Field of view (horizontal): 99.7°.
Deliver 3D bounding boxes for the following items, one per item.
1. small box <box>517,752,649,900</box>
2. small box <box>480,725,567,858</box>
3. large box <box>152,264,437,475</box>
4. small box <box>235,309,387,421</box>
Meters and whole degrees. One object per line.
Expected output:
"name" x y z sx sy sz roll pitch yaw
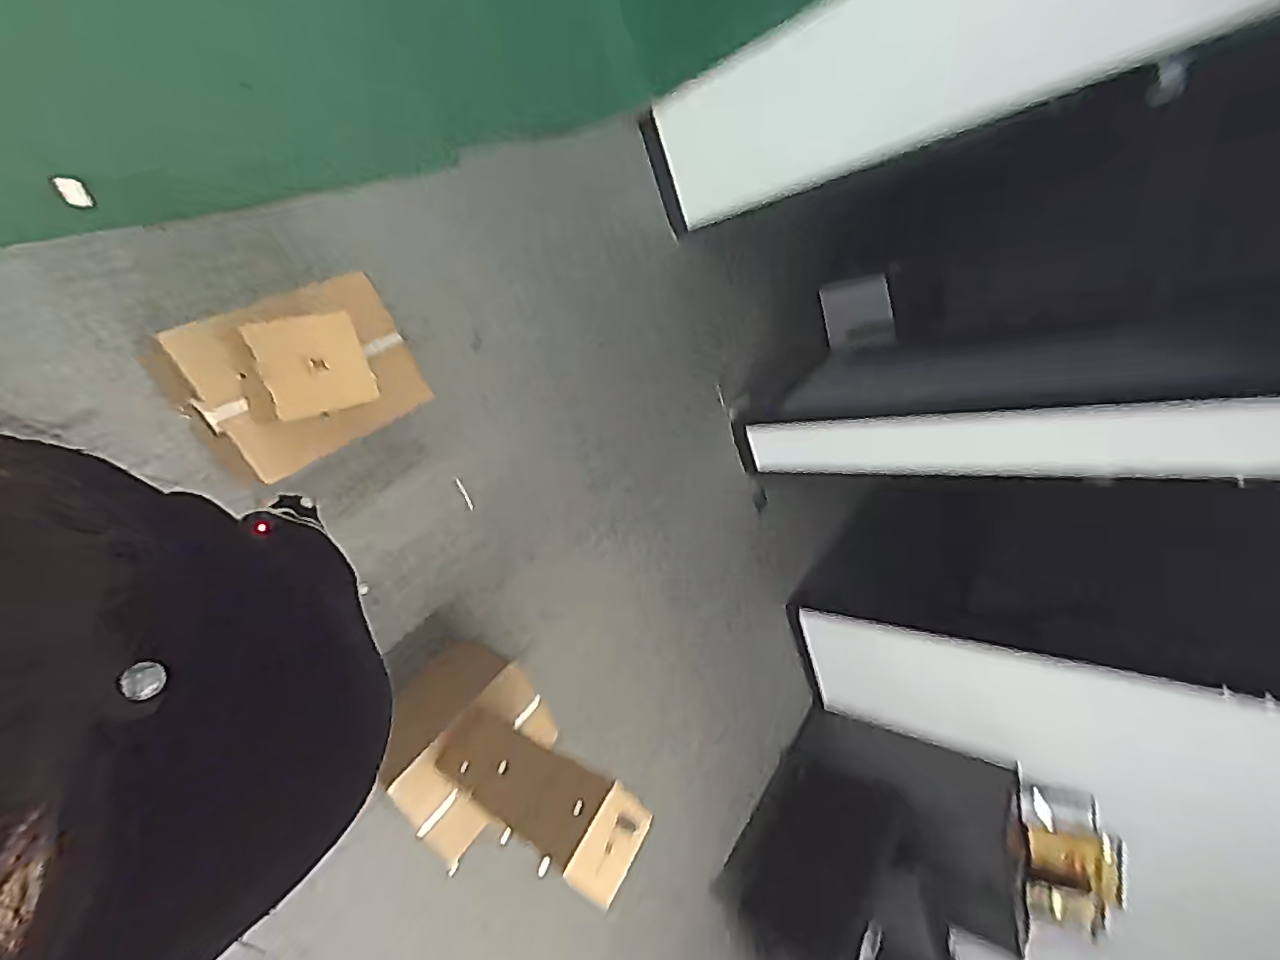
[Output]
"small box" -0.119 0.701 1.116 0.179 0.176 0.168 -50 124 -32
"small box" -0.238 0.699 1.231 0.179 0.176 0.168 -49 124 -32
"large box" -0.763 -0.241 1.222 0.408 0.320 0.320 -42 120 -38
"small box" -0.619 -0.214 1.018 0.179 0.176 0.168 -28 110 -42
